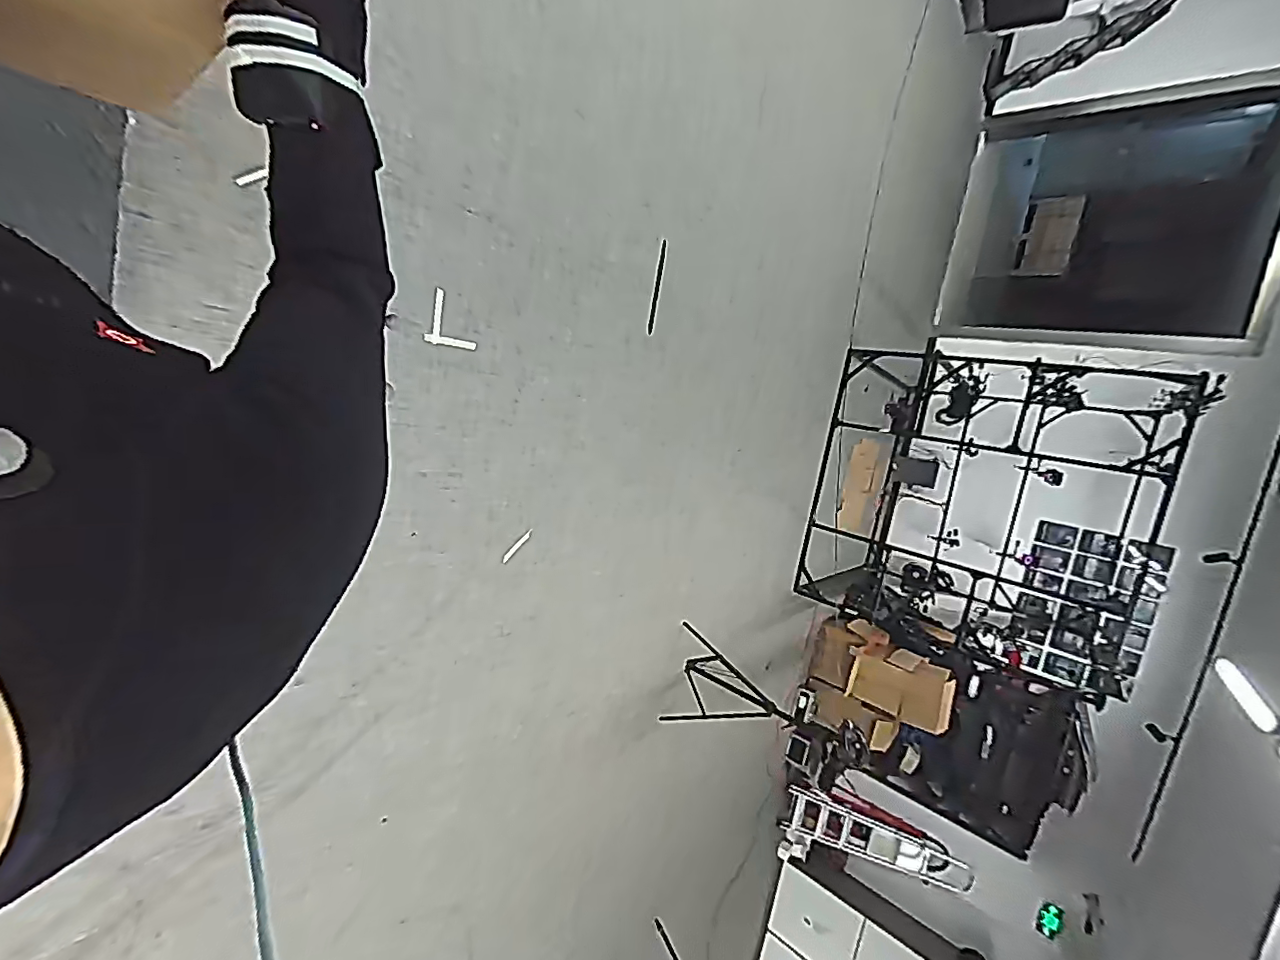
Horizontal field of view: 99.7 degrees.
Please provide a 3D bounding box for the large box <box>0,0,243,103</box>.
[{"bbox_3d":[-0.470,-0.469,0.258,0.408,0.320,0.320,-9,106,-52],"label":"large box"}]
